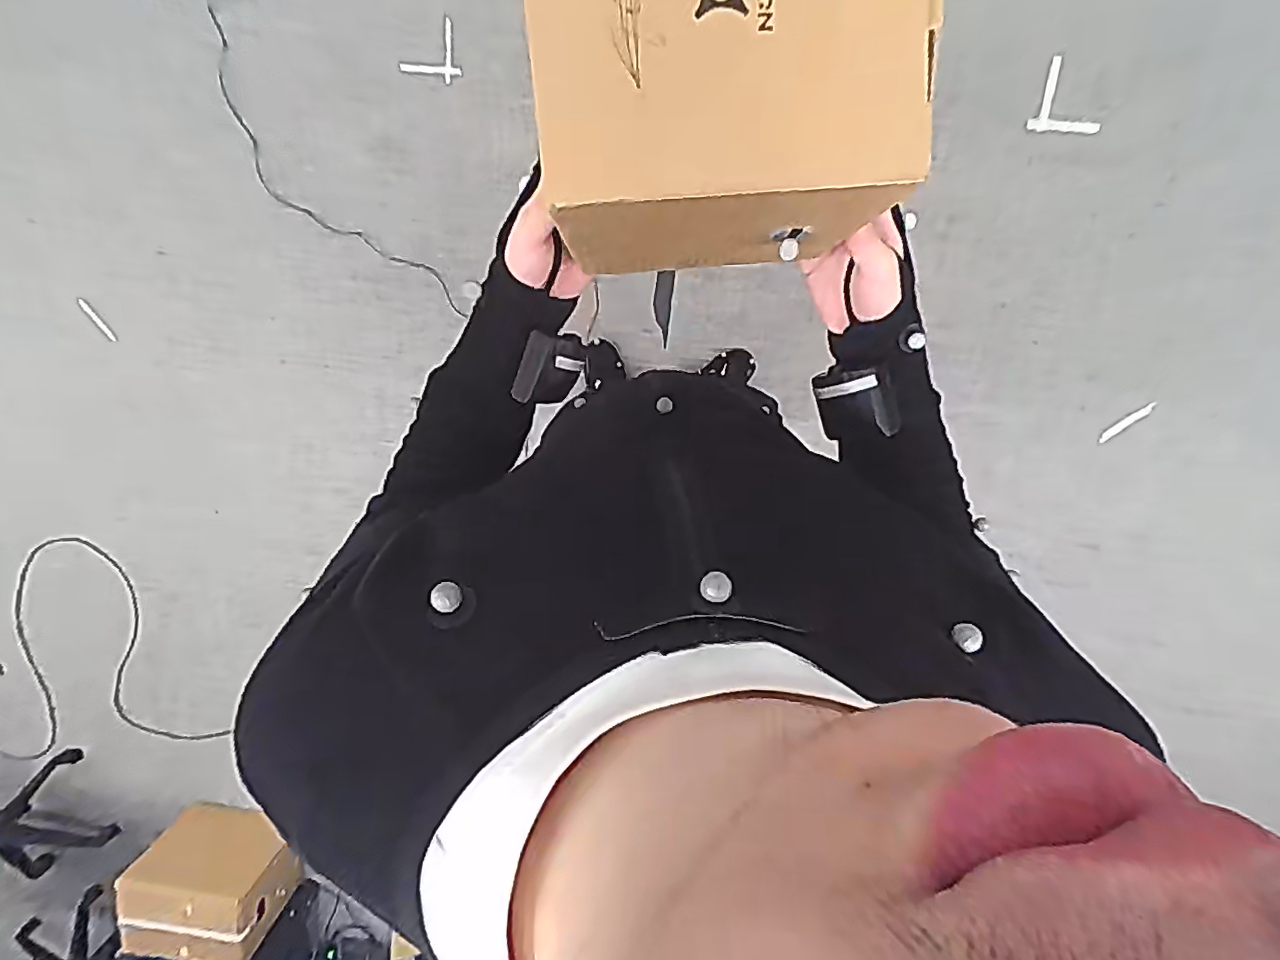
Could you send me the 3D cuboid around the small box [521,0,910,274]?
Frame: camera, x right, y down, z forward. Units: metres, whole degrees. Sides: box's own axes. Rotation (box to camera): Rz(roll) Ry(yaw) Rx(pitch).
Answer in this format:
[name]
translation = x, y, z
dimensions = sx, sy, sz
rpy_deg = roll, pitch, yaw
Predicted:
[small box]
translation = 0.033, -0.227, 0.319
dimensions = 0.179, 0.176, 0.168
rpy_deg = -4, 100, 1
